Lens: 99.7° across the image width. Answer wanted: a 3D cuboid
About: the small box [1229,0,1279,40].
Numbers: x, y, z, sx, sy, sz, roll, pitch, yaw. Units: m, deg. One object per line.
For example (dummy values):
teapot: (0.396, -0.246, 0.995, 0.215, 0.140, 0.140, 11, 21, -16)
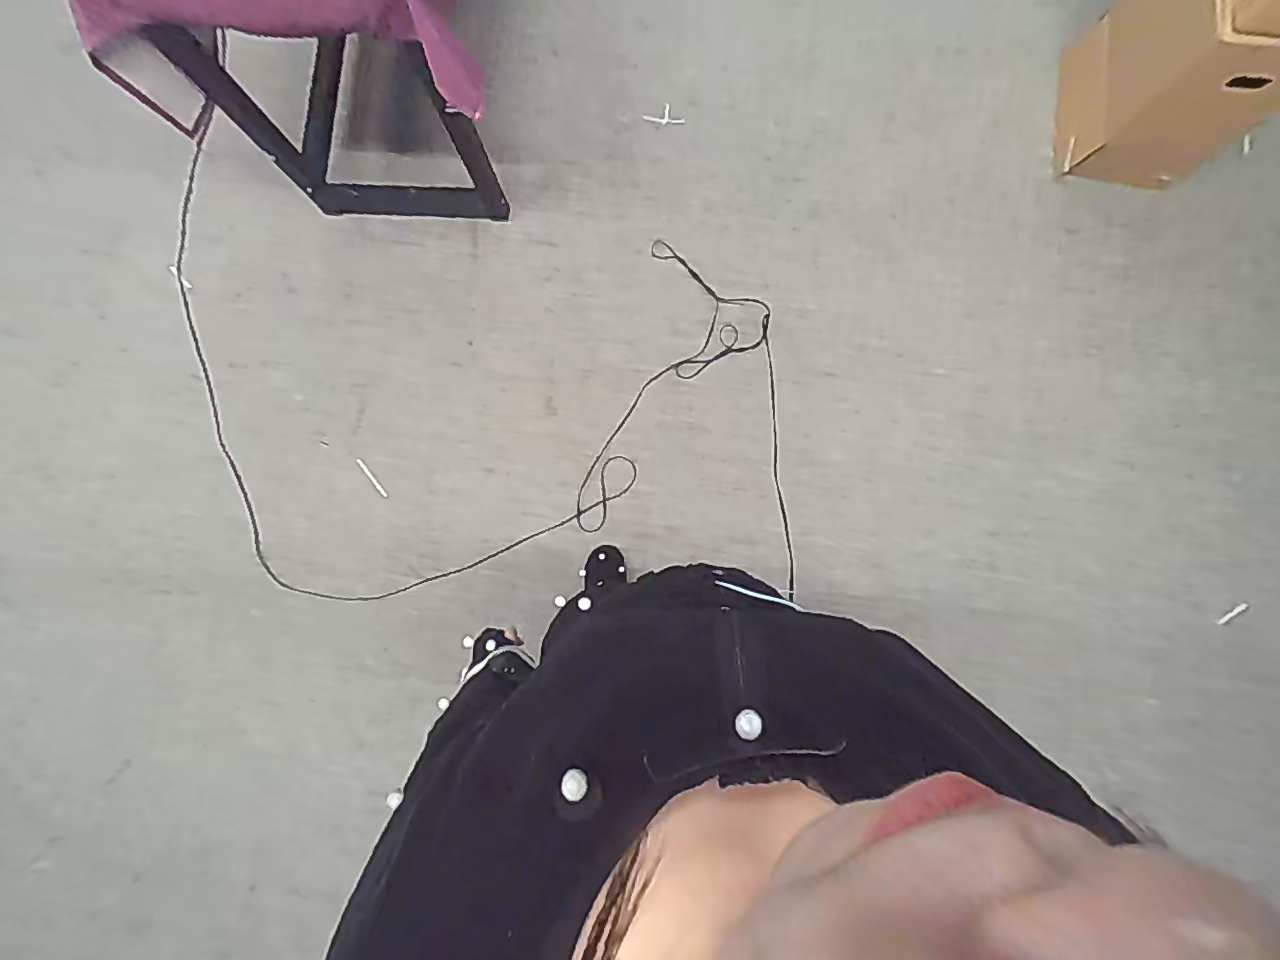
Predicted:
small box: (1.369, -1.036, 1.092, 0.179, 0.176, 0.168, 8, 83, 2)
